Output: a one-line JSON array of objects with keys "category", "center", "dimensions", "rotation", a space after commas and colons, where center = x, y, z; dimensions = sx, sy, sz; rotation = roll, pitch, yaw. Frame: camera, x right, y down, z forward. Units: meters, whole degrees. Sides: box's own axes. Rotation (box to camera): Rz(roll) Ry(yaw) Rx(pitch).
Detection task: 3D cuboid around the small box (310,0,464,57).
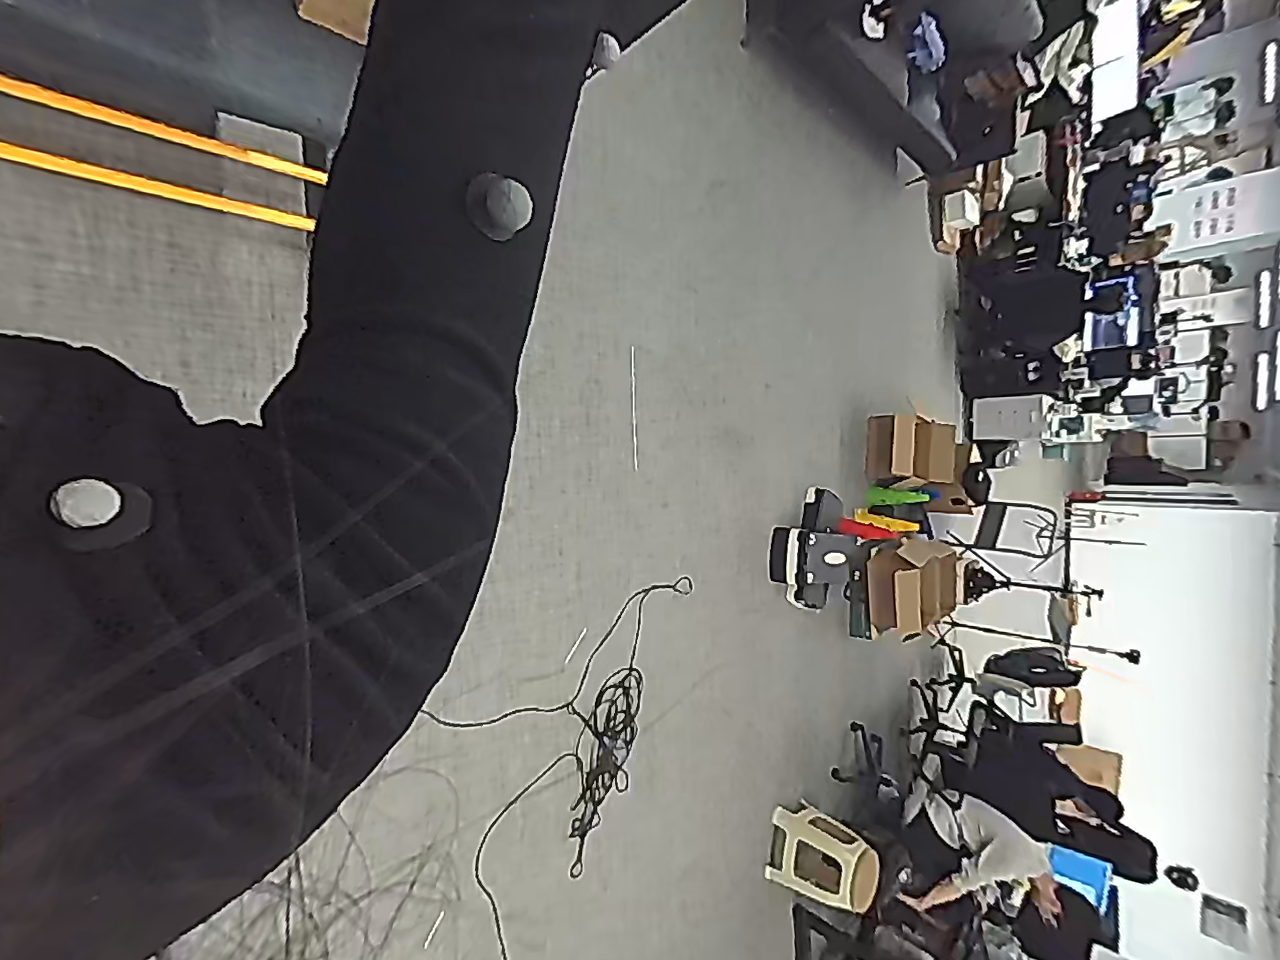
[{"category": "small box", "center": [-0.322, -0.683, 0.669], "dimensions": [0.168, 0.176, 0.179], "rotation": [-7, 95, -45]}]
